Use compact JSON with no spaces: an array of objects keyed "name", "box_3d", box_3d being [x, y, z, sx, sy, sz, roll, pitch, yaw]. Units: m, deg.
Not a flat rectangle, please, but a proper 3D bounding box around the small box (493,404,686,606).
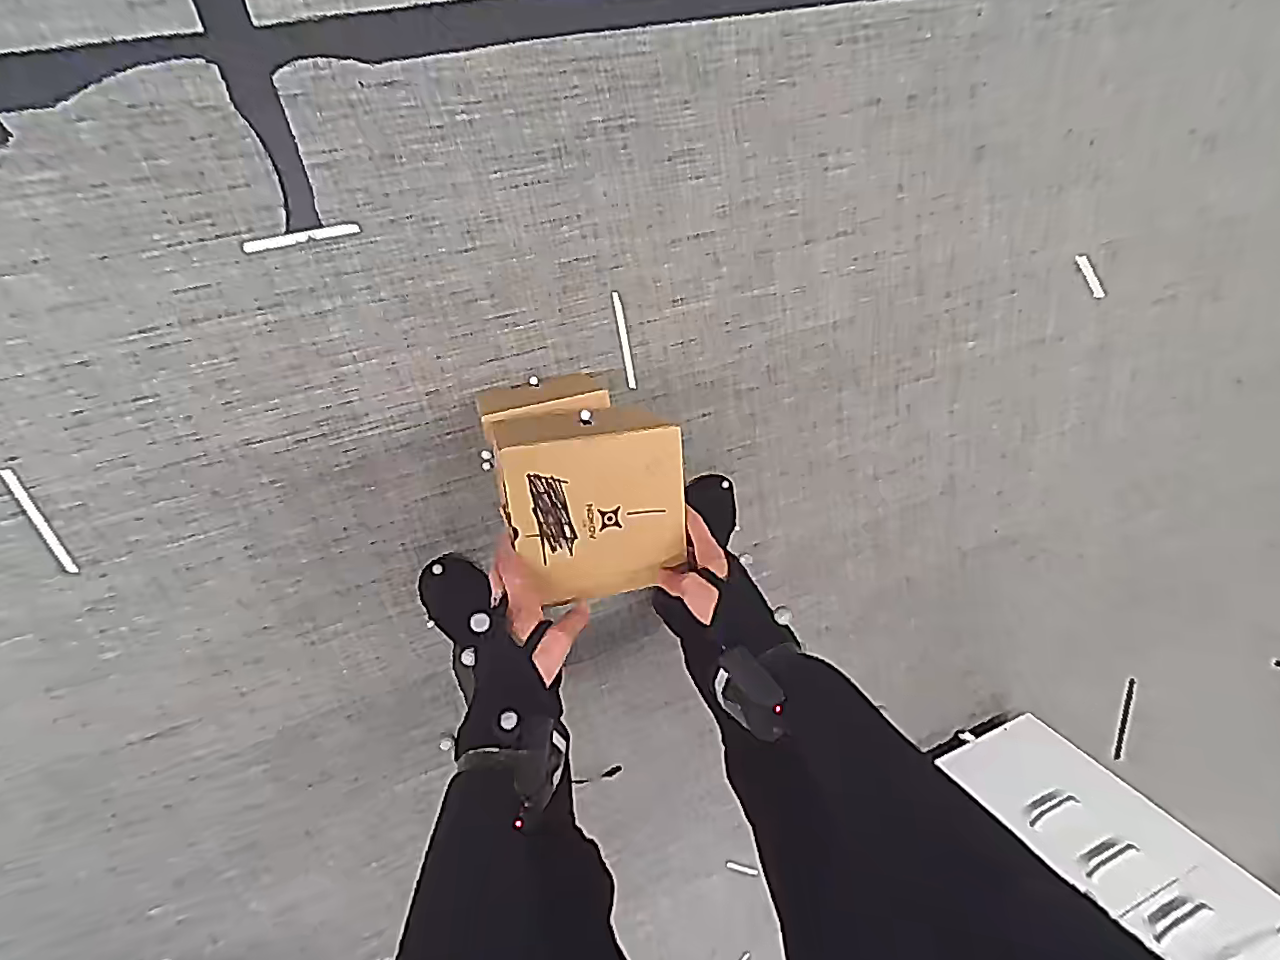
[{"name":"small box","box_3d":[-0.063,0.013,0.588,0.179,0.176,0.168,-8,107,-16]}]
